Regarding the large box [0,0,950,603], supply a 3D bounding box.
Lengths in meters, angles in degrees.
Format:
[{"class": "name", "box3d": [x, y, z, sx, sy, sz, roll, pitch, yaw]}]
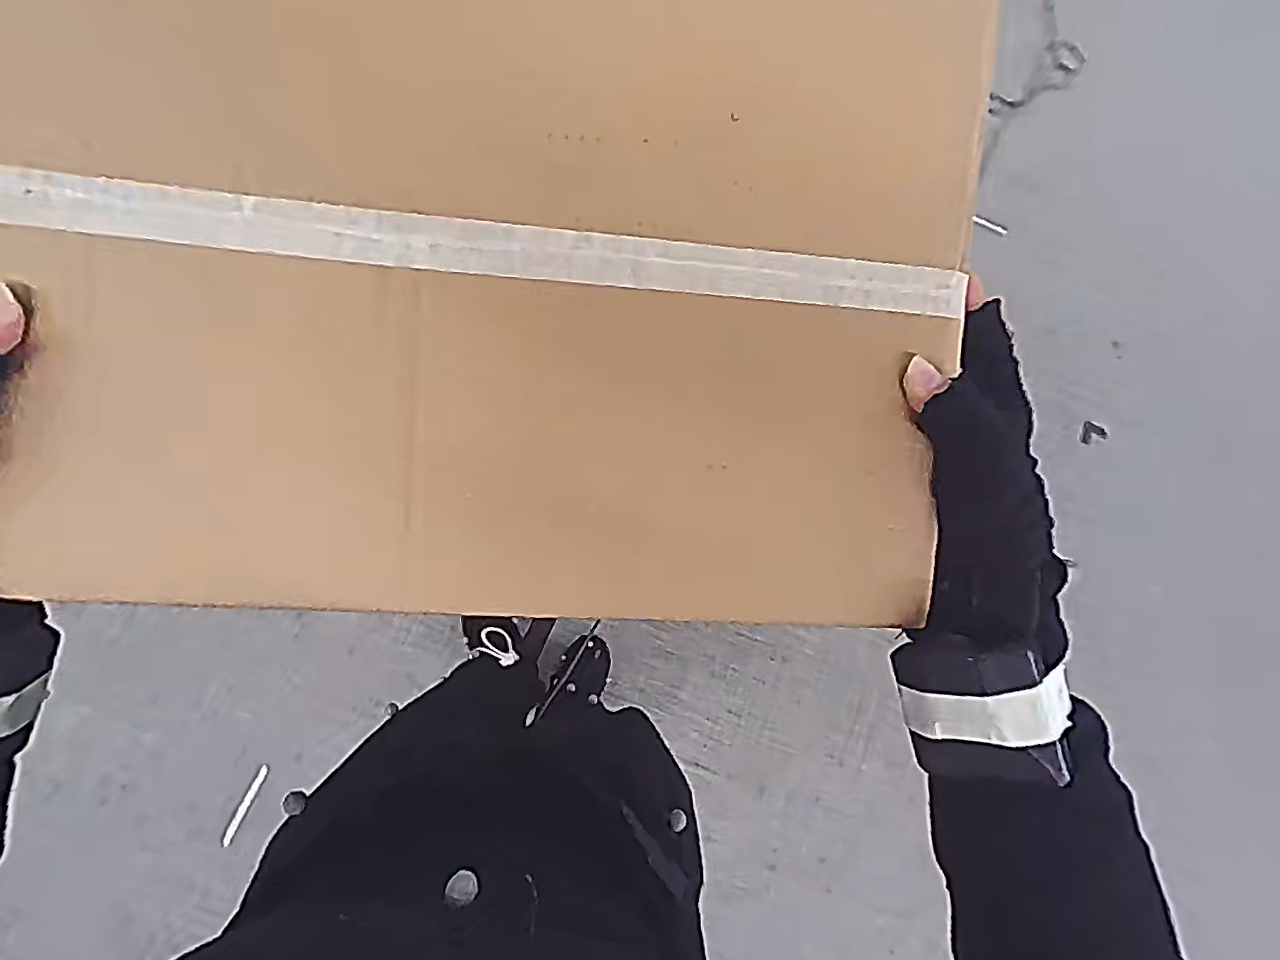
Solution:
[{"class": "large box", "box3d": [-0.076, -0.113, 0.386, 0.408, 0.320, 0.320, 3, 95, -7]}]
